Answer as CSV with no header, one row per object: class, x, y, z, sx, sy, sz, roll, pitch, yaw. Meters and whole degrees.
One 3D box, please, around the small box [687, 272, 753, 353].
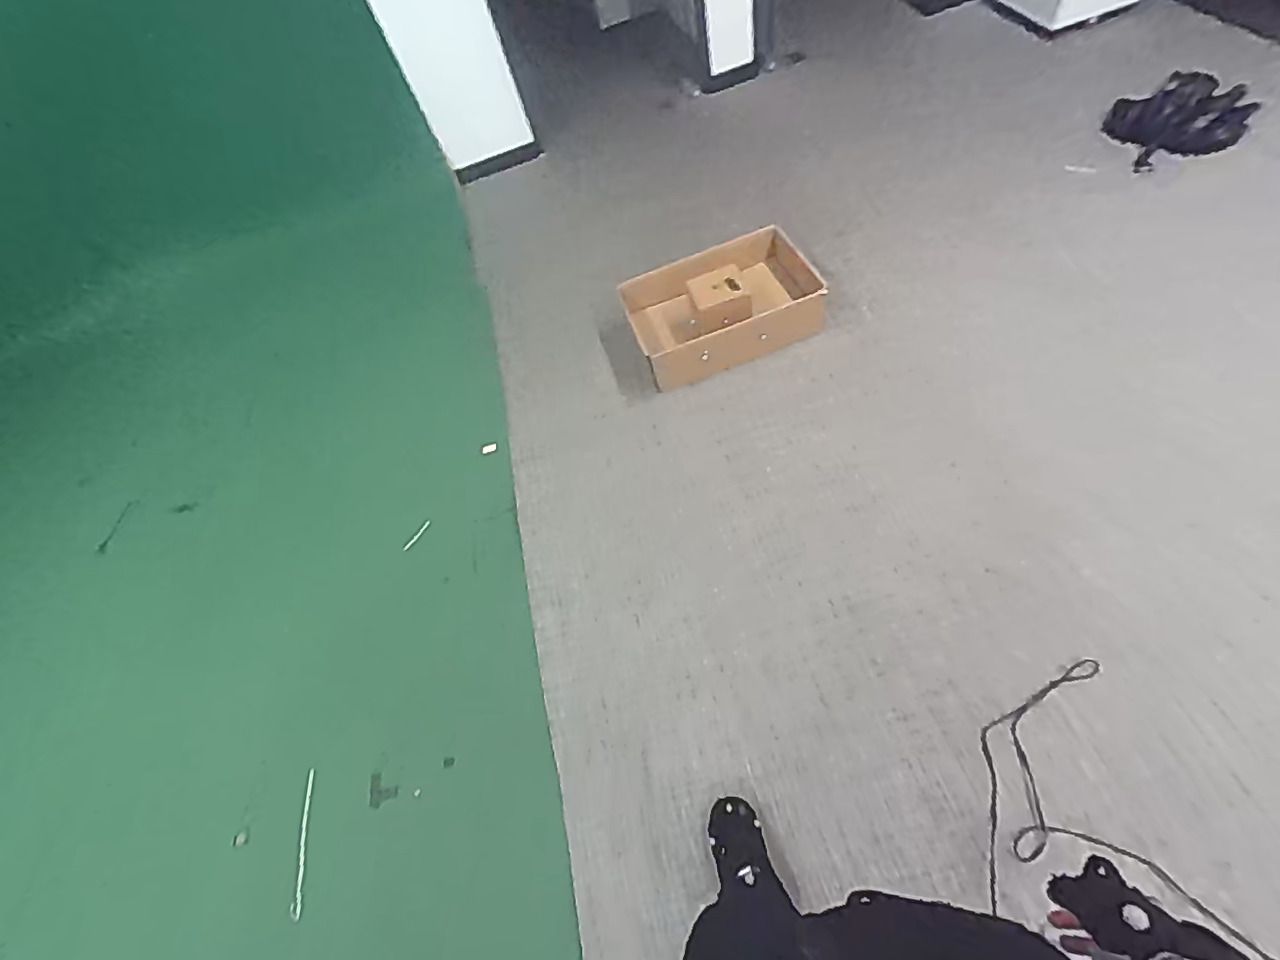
small box,0.274,-0.567,1.836,0.179,0.176,0.168,-21,55,0
